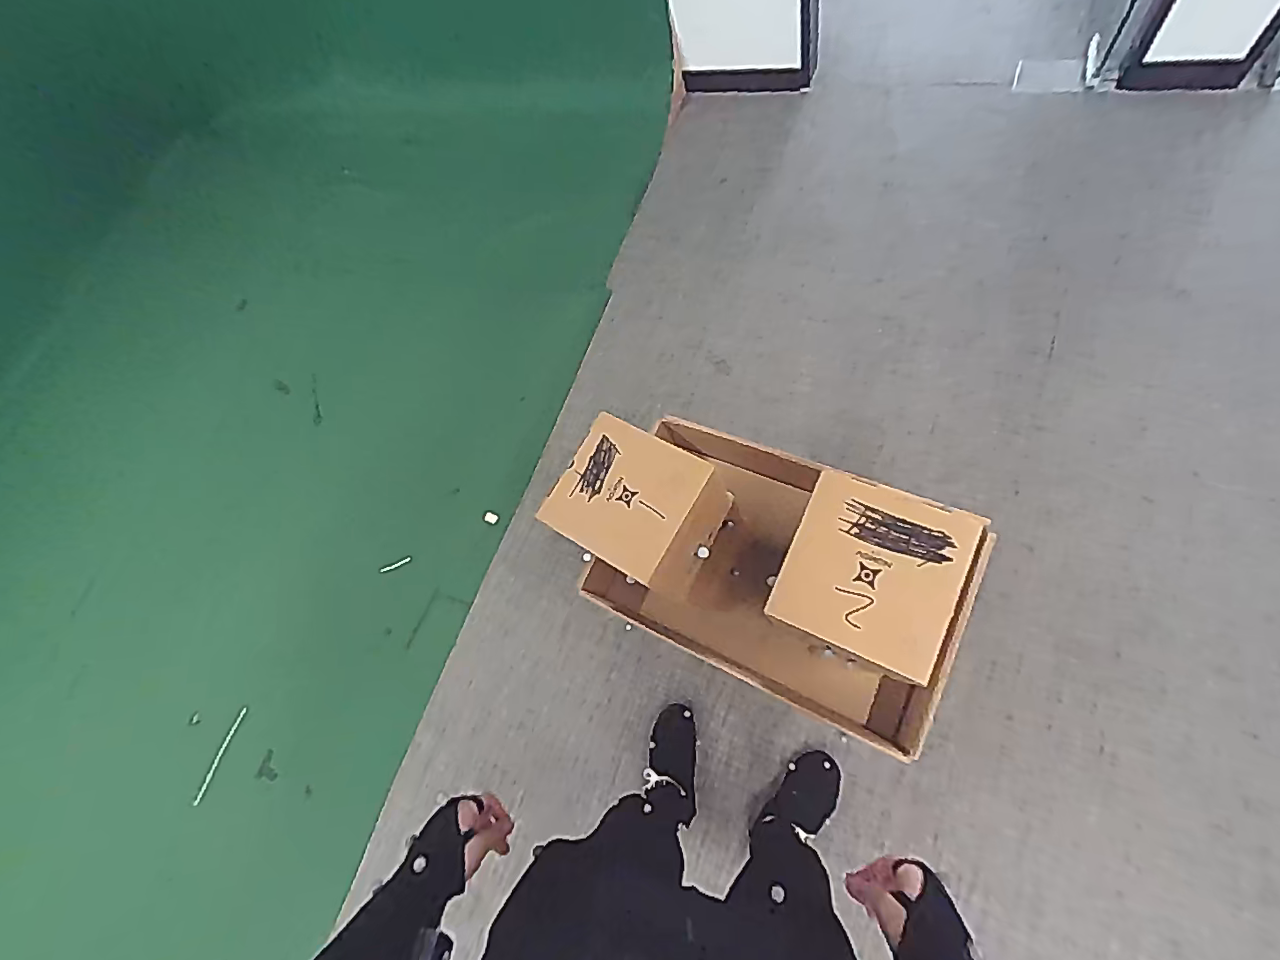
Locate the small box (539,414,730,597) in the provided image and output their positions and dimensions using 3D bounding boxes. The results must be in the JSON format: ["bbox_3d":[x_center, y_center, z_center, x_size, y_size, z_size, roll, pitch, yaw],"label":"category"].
[{"bbox_3d":[0.002,0.043,0.734,0.179,0.176,0.168,29,82,23],"label":"small box"}]

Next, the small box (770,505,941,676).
[{"bbox_3d":[0.303,0.163,0.779,0.168,0.176,0.179,22,79,22],"label":"small box"}]

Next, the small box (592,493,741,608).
[{"bbox_3d":[0.053,0.092,0.882,0.168,0.176,0.179,25,80,23],"label":"small box"}]
